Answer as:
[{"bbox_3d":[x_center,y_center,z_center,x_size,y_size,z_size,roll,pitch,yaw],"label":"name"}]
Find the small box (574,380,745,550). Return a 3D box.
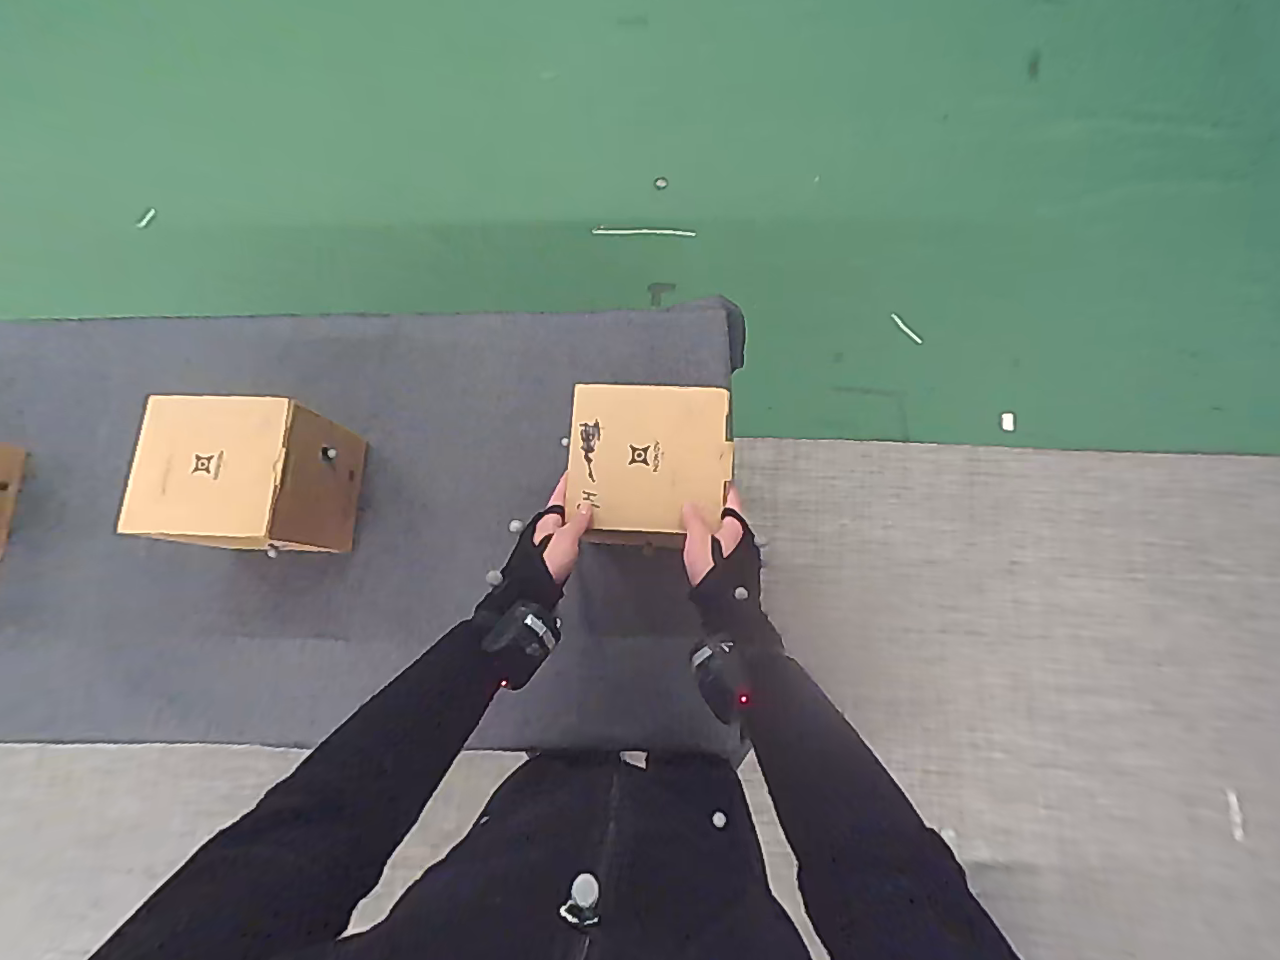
[{"bbox_3d":[0.023,-0.008,0.656,0.179,0.176,0.168,3,77,1],"label":"small box"}]

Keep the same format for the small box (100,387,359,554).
[{"bbox_3d":[-0.475,-0.003,0.660,0.179,0.176,0.168,1,75,1],"label":"small box"}]
